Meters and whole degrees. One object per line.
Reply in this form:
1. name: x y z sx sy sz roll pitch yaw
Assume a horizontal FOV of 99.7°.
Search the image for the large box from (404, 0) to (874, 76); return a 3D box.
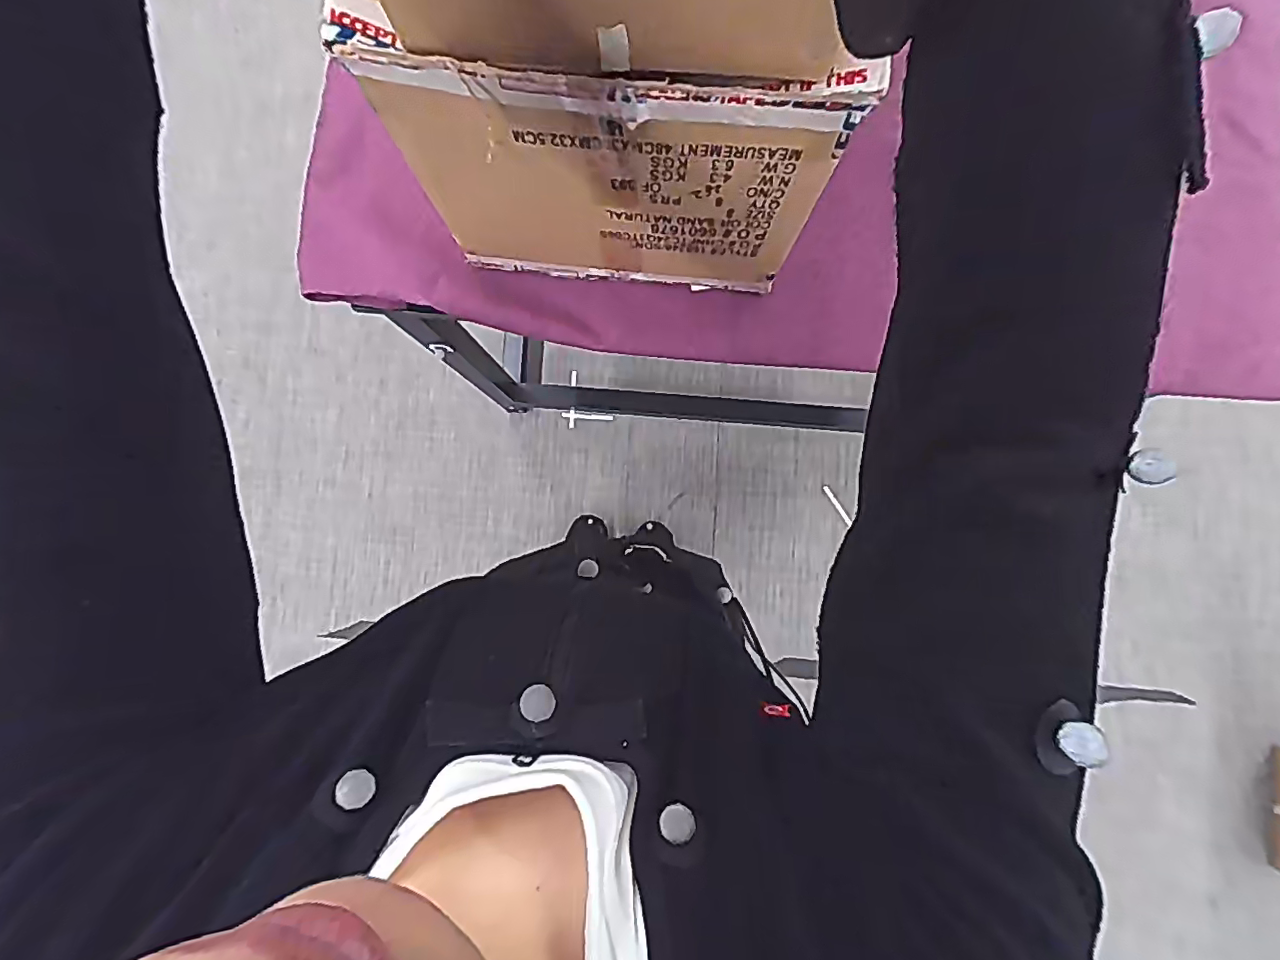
1. large box: 0.005 -0.504 0.254 0.320 0.320 0.408 4 86 3
